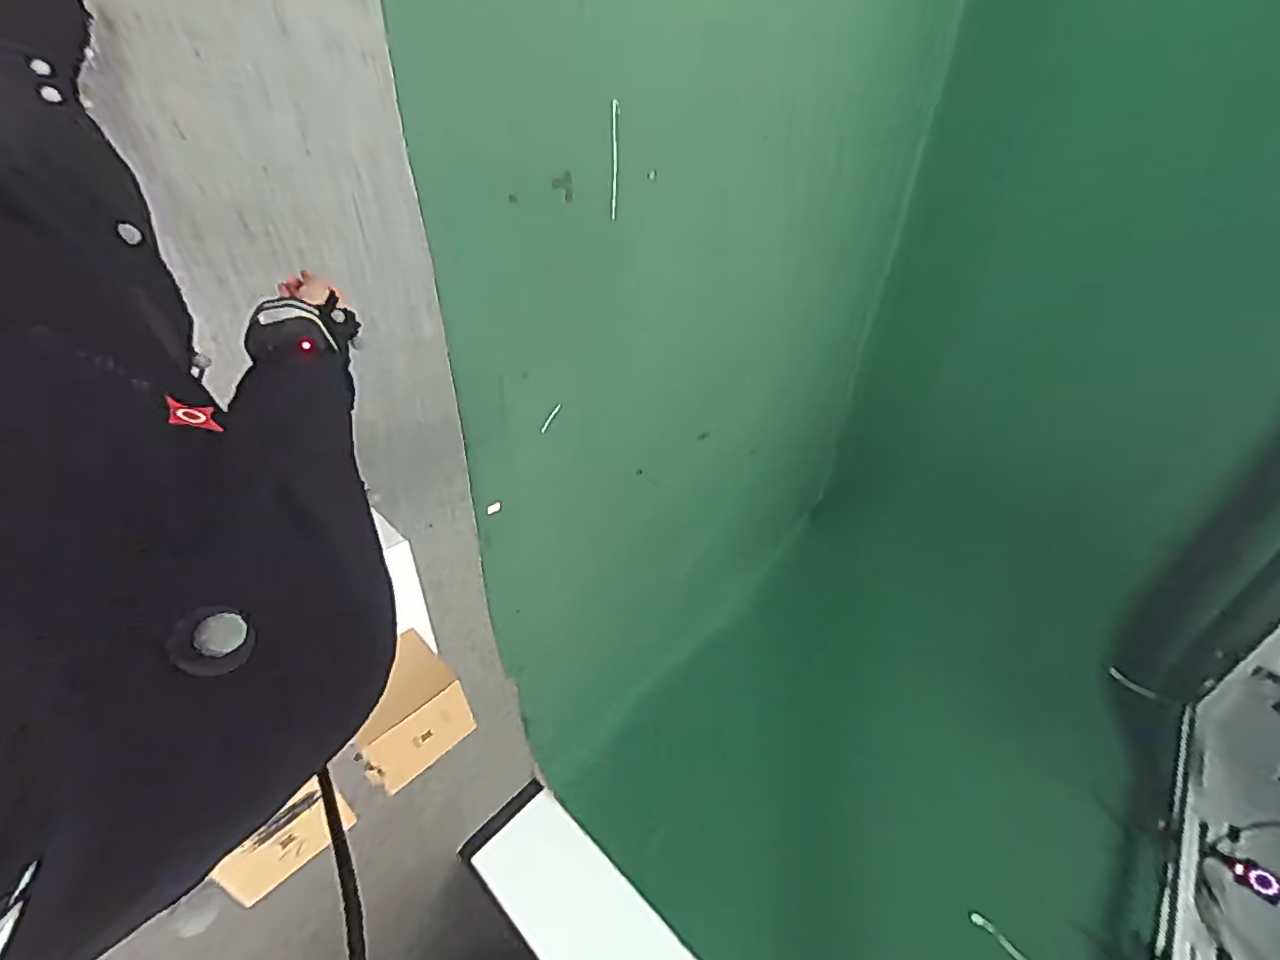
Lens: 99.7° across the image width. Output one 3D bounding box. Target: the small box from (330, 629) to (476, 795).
[{"bbox_3d":[-0.431,0.412,0.980,0.179,0.176,0.168,-33,139,-35],"label":"small box"}]
